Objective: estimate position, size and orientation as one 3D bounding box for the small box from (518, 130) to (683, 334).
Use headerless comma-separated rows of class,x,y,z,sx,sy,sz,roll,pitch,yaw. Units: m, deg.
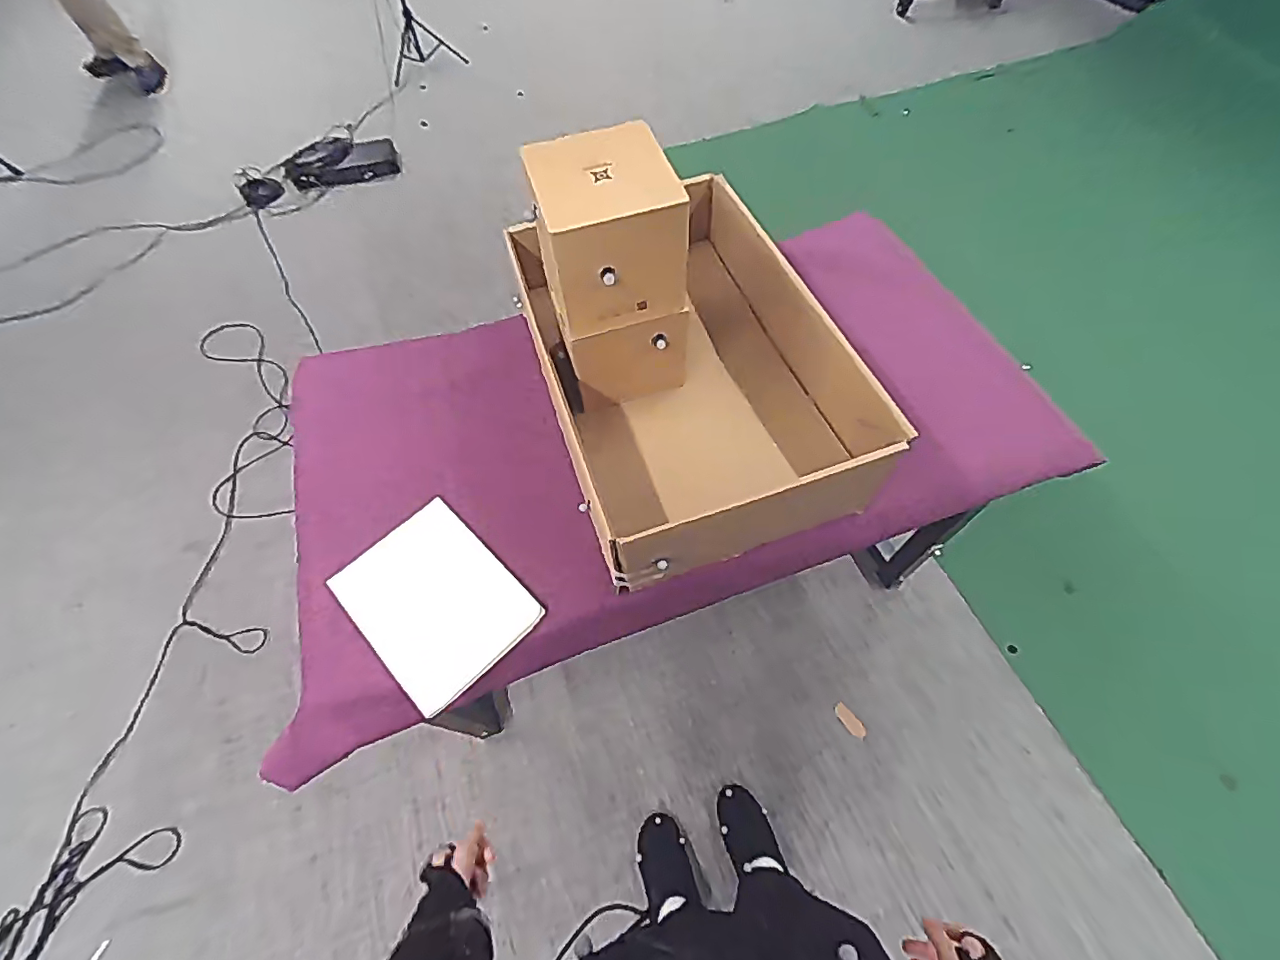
small box,-0.047,-0.316,0.714,0.168,0.176,0.179,-17,61,-7
